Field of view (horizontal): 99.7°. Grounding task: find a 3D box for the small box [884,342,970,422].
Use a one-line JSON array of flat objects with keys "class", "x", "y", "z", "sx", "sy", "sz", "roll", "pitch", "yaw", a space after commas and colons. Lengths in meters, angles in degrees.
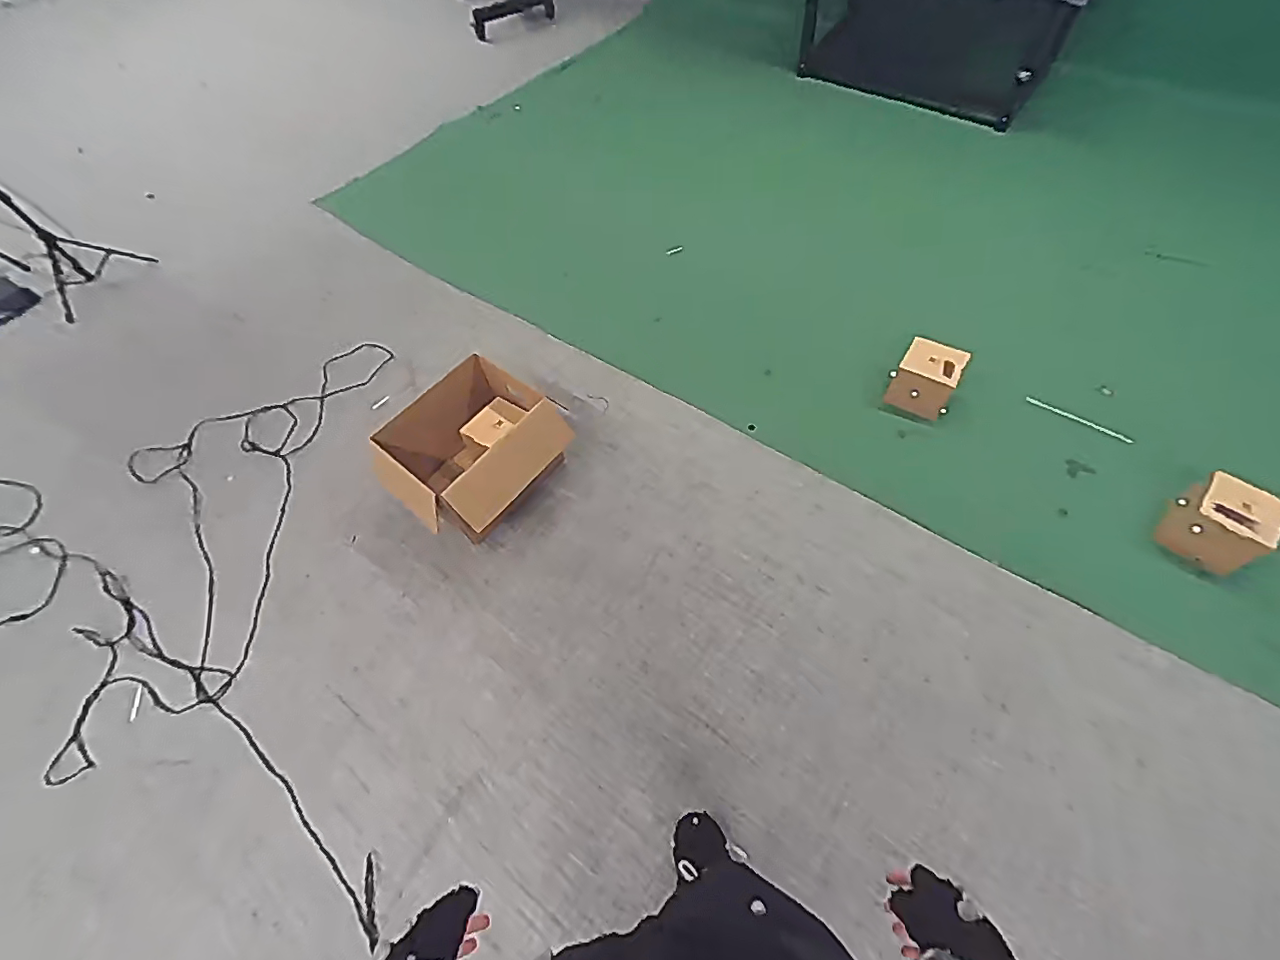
[{"class": "small box", "x": 0.933, "y": -0.314, "z": 1.769, "sx": 0.179, "sy": 0.176, "sz": 0.168, "roll": 28, "pitch": 63, "yaw": 21}]
